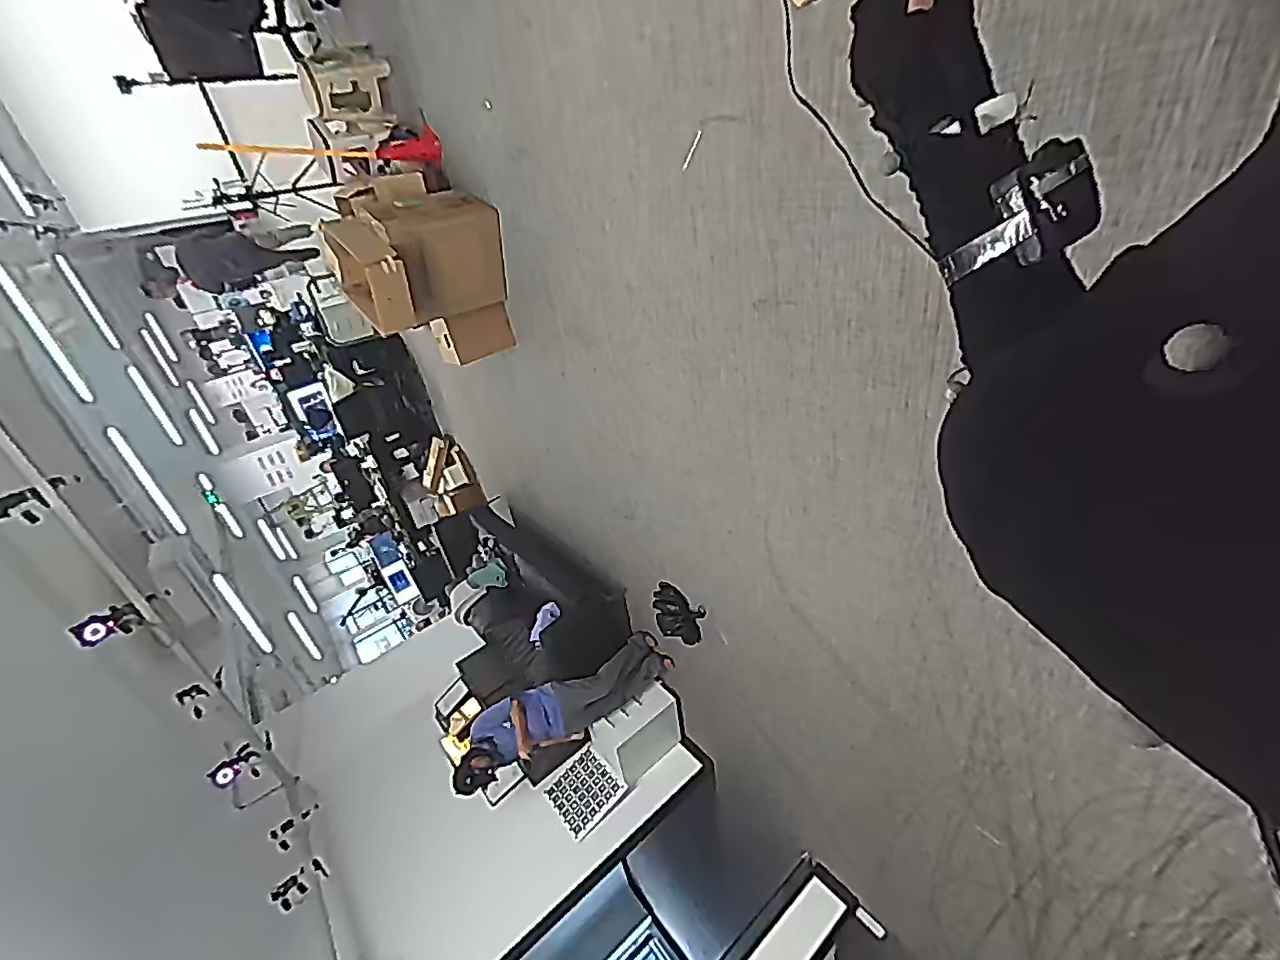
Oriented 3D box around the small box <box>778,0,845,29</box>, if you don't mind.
[{"bbox_3d":[0.175,-0.464,0.355,0.179,0.176,0.168,58,158,-21],"label":"small box"}]
